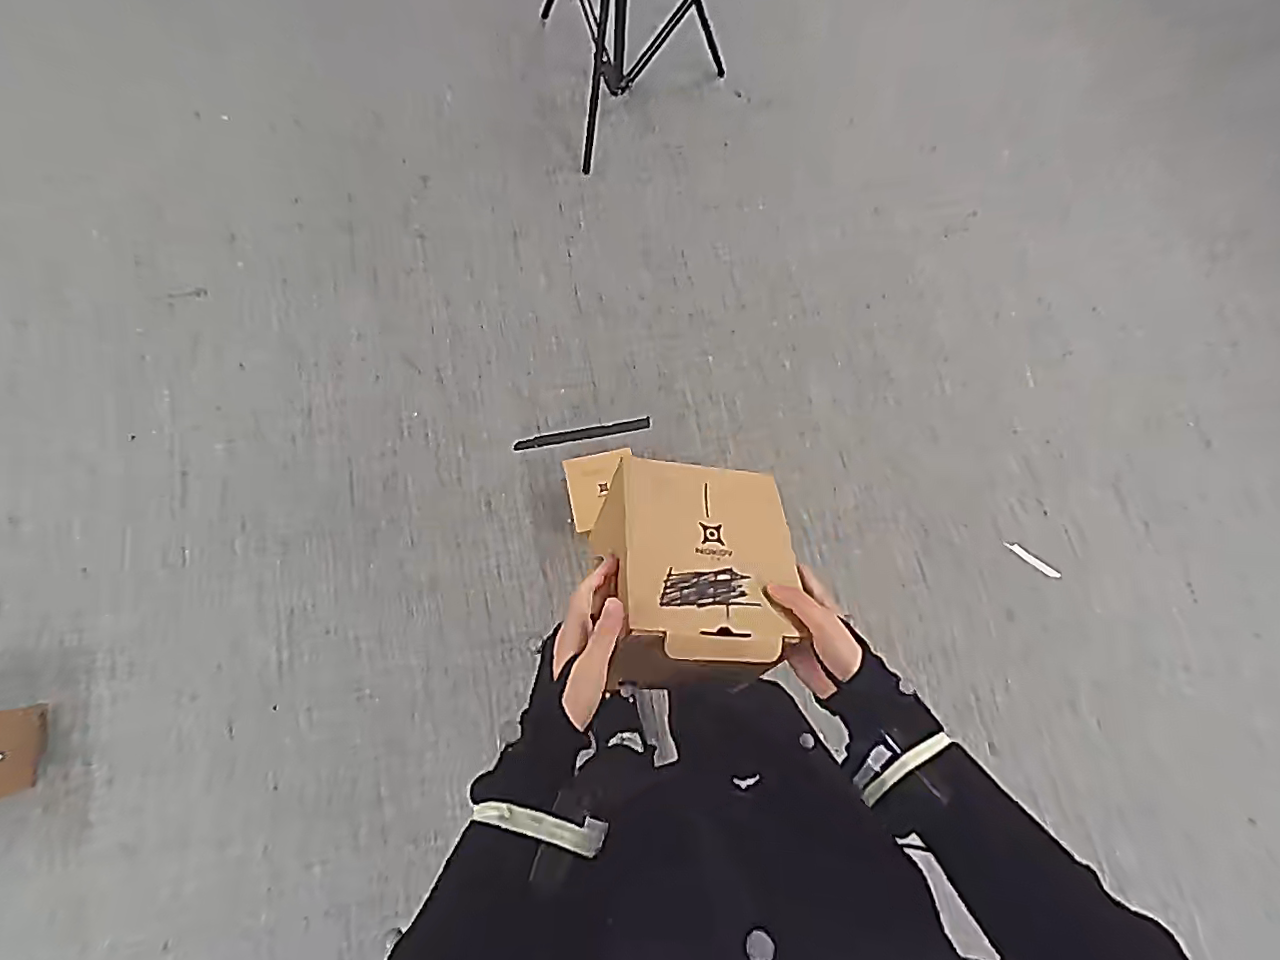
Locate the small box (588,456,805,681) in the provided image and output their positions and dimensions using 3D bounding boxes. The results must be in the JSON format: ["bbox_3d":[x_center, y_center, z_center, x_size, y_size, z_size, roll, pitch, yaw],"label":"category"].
[{"bbox_3d":[0.041,0.100,0.556,0.168,0.176,0.179,5,54,-13],"label":"small box"}]

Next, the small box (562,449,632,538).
[{"bbox_3d":[-0.090,0.041,1.325,0.168,0.176,0.179,-12,77,-8],"label":"small box"}]
